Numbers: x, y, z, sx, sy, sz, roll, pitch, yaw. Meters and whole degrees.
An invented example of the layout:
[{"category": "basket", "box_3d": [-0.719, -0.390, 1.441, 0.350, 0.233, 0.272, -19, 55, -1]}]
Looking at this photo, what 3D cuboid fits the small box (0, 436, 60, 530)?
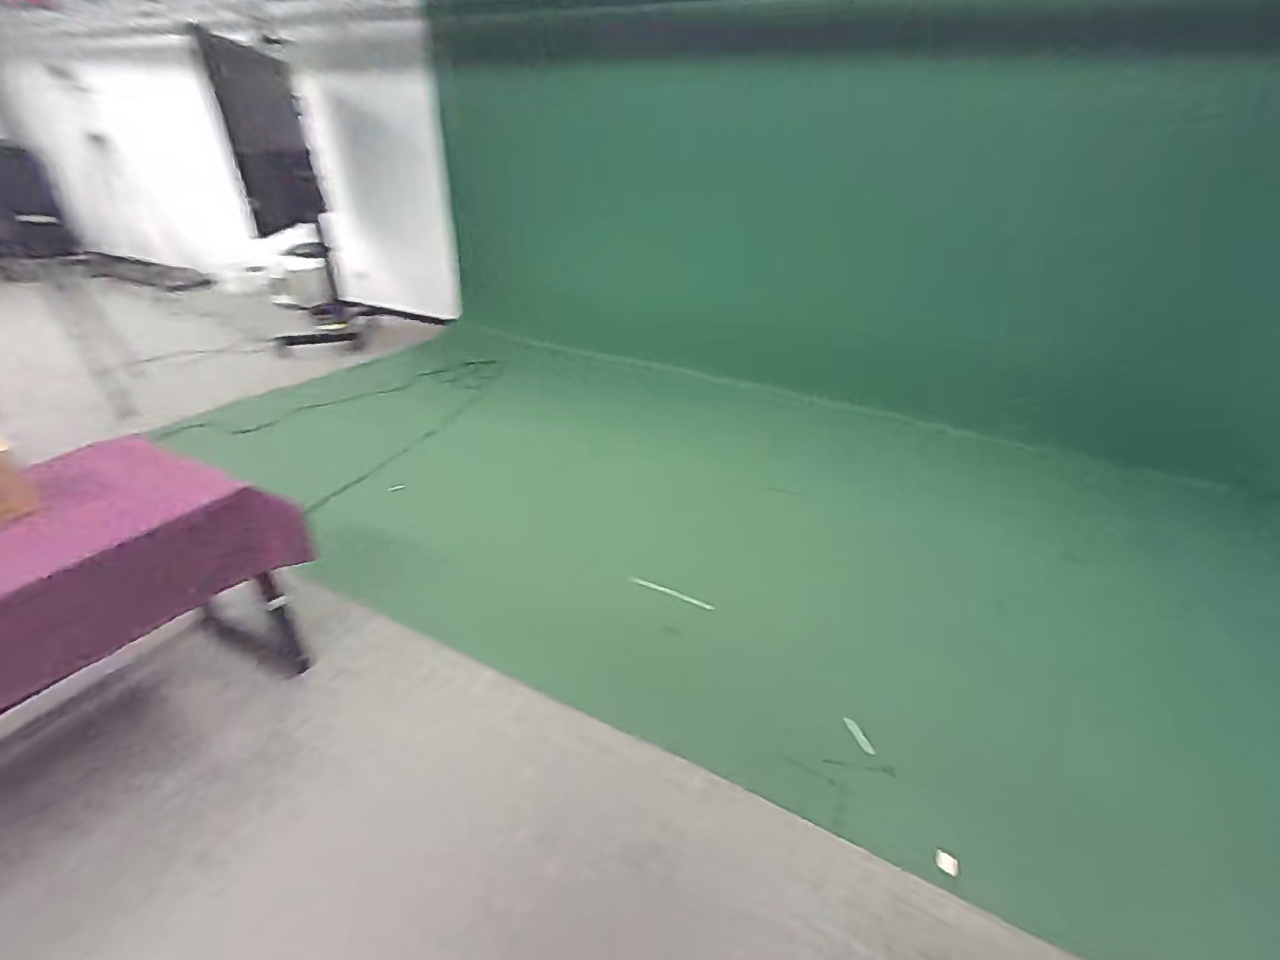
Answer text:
[{"category": "small box", "box_3d": [-1.595, 0.017, 1.332, 0.179, 0.176, 0.168, 22, 35, 28]}]
